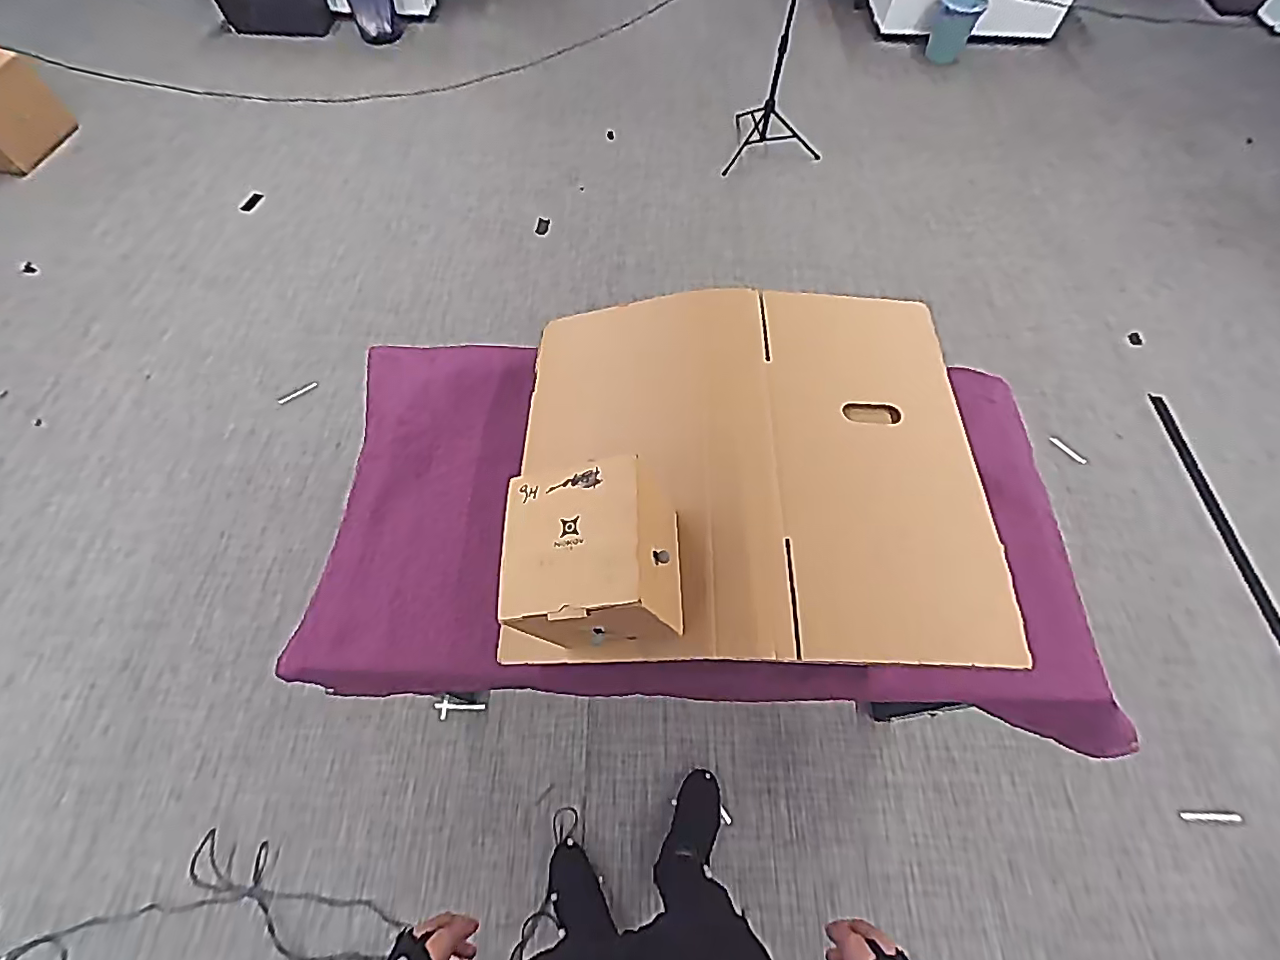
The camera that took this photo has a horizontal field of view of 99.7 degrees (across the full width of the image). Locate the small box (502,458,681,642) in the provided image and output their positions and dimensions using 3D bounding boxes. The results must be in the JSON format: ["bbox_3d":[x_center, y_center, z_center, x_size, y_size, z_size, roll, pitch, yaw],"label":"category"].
[{"bbox_3d":[-0.050,0.098,0.668,0.168,0.176,0.179,-10,62,16],"label":"small box"}]
